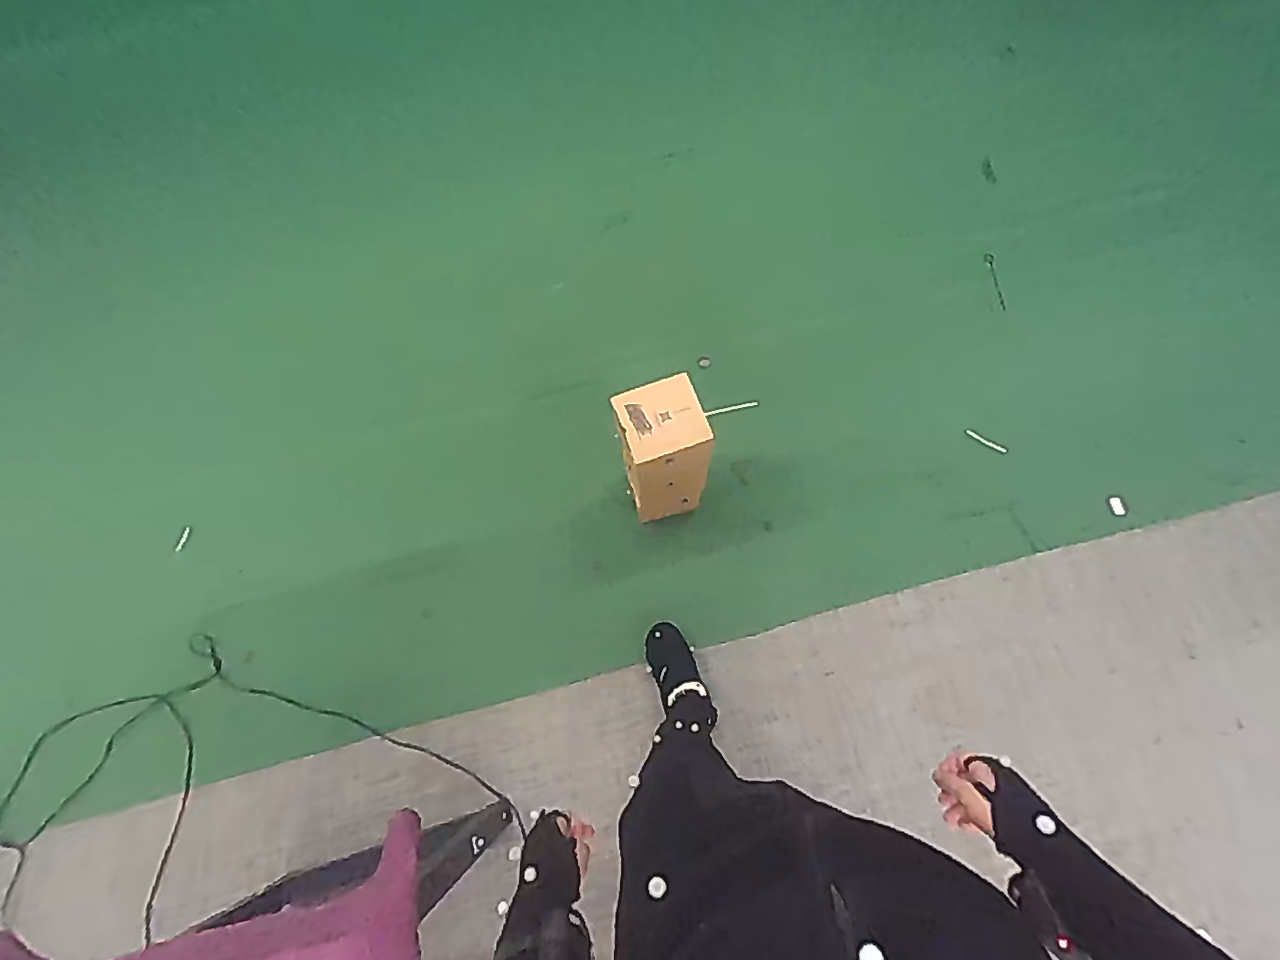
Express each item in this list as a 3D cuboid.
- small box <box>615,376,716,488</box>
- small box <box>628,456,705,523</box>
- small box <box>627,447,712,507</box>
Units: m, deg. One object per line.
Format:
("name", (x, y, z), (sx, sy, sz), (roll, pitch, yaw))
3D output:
("small box", (0.057, -0.100, 1.206), (0.179, 0.176, 0.168), (-19, 72, -4))
("small box", (0.072, 0.009, 1.513), (0.179, 0.176, 0.168), (-15, 71, -2))
("small box", (0.070, -0.047, 1.361), (0.179, 0.176, 0.168), (-18, 71, -1))
